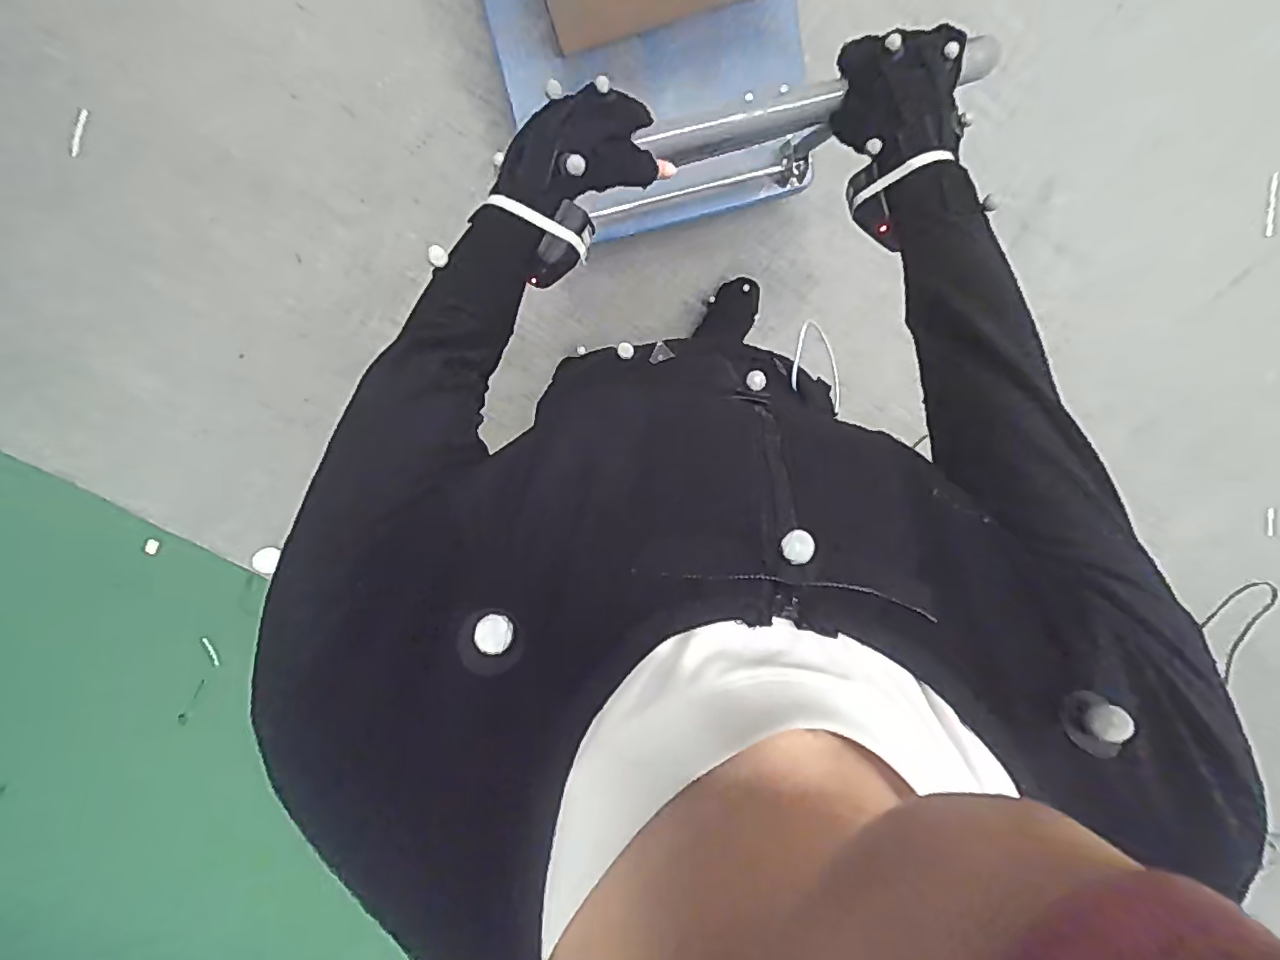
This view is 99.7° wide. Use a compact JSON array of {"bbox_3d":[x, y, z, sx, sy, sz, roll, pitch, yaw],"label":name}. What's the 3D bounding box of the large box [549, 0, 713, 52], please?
[{"bbox_3d":[0.007,-0.963,0.841,0.408,0.320,0.320,-16,108,6],"label":"large box"}]
